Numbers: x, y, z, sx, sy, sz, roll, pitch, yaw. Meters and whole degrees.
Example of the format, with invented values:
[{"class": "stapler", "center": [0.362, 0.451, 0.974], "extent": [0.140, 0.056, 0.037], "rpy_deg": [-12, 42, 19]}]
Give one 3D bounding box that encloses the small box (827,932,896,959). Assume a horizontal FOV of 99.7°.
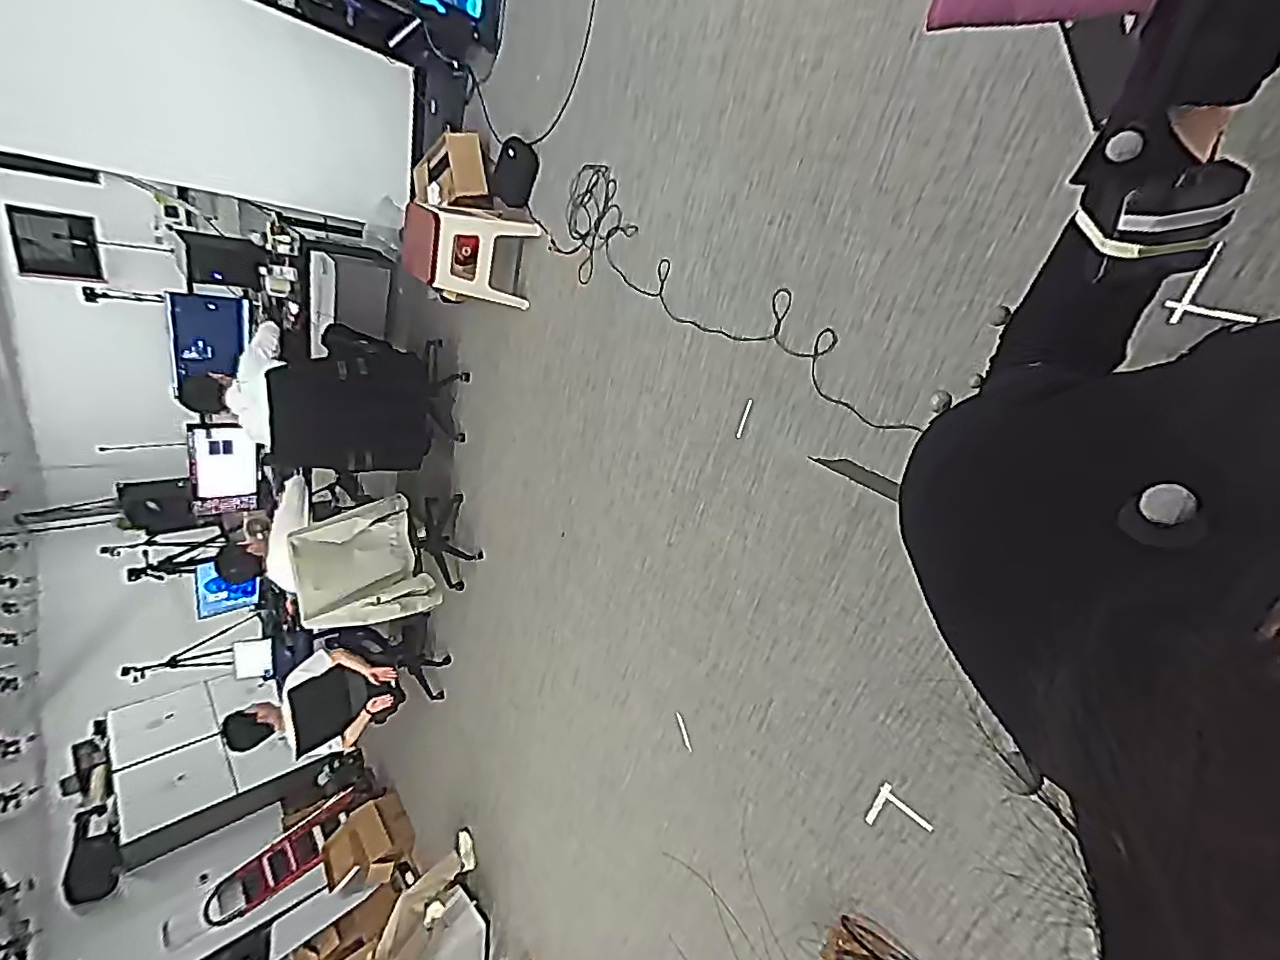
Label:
[{"class": "small box", "center": [0.697, 1.578, 1.693], "extent": [0.179, 0.176, 0.168], "rpy_deg": [11, 105, 44]}]
